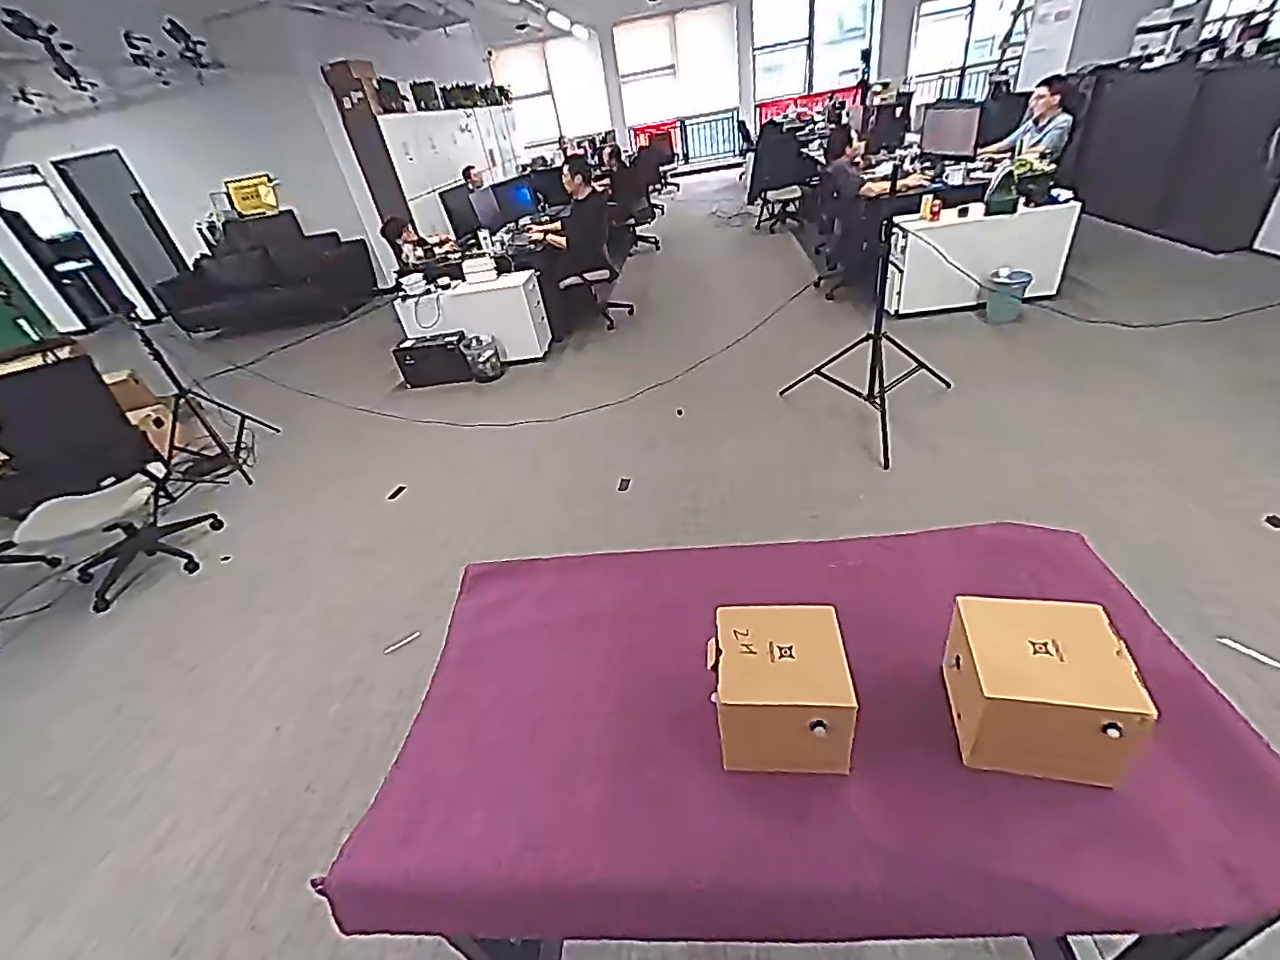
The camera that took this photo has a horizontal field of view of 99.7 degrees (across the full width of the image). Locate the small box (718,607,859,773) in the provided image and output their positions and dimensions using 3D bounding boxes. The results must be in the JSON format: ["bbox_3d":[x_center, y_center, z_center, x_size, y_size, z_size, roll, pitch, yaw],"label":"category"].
[{"bbox_3d":[0.208,0.307,0.794,0.179,0.176,0.168,-4,34,10],"label":"small box"}]

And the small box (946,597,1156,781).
[{"bbox_3d":[0.533,0.281,0.737,0.179,0.176,0.168,0,36,17],"label":"small box"}]
